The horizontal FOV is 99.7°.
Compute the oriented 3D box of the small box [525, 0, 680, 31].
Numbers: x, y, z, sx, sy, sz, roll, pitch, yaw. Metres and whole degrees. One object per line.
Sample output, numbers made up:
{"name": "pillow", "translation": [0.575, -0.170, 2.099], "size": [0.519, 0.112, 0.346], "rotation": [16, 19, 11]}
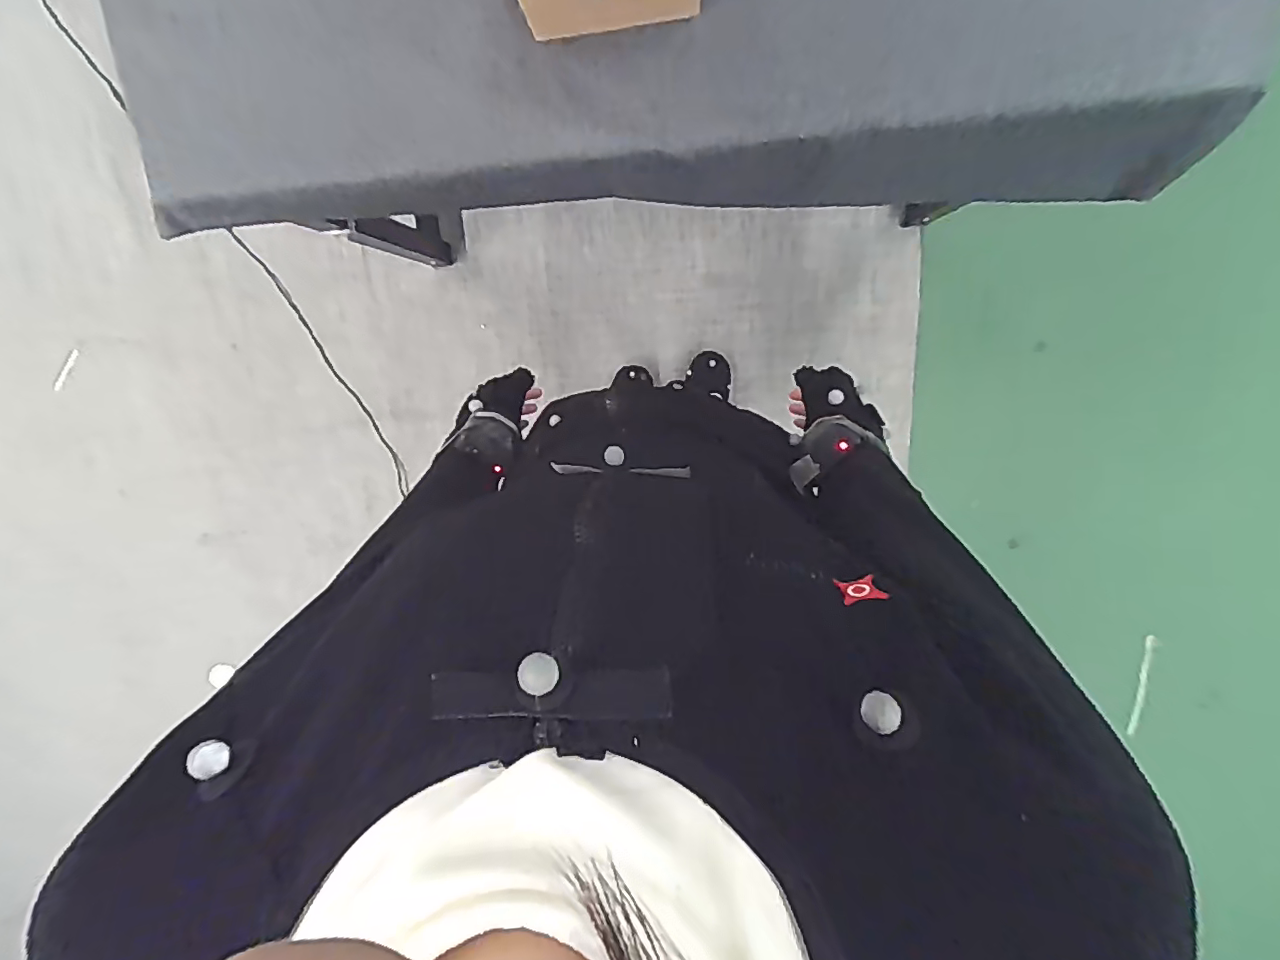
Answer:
{"name": "small box", "translation": [-0.036, -0.534, 0.463], "size": [0.179, 0.176, 0.168], "rotation": [-8, 104, 4]}
